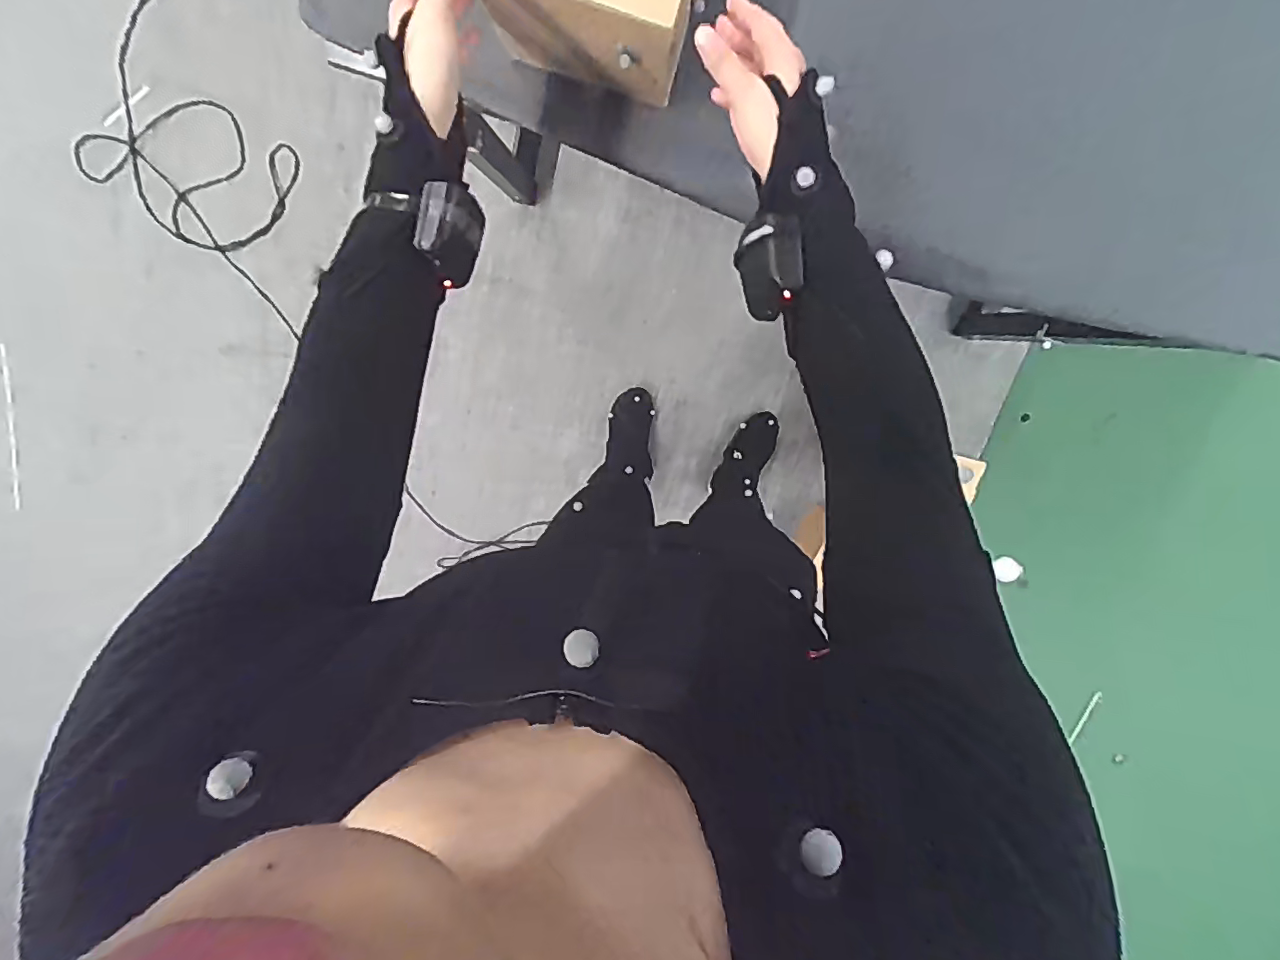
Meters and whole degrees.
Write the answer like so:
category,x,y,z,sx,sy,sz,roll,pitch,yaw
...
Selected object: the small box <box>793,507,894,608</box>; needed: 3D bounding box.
category,x,y,z,sx,sy,sz,roll,pitch,yaw
small box,0.521,0.198,1.417,0.168,0.176,0.179,23,105,-5
